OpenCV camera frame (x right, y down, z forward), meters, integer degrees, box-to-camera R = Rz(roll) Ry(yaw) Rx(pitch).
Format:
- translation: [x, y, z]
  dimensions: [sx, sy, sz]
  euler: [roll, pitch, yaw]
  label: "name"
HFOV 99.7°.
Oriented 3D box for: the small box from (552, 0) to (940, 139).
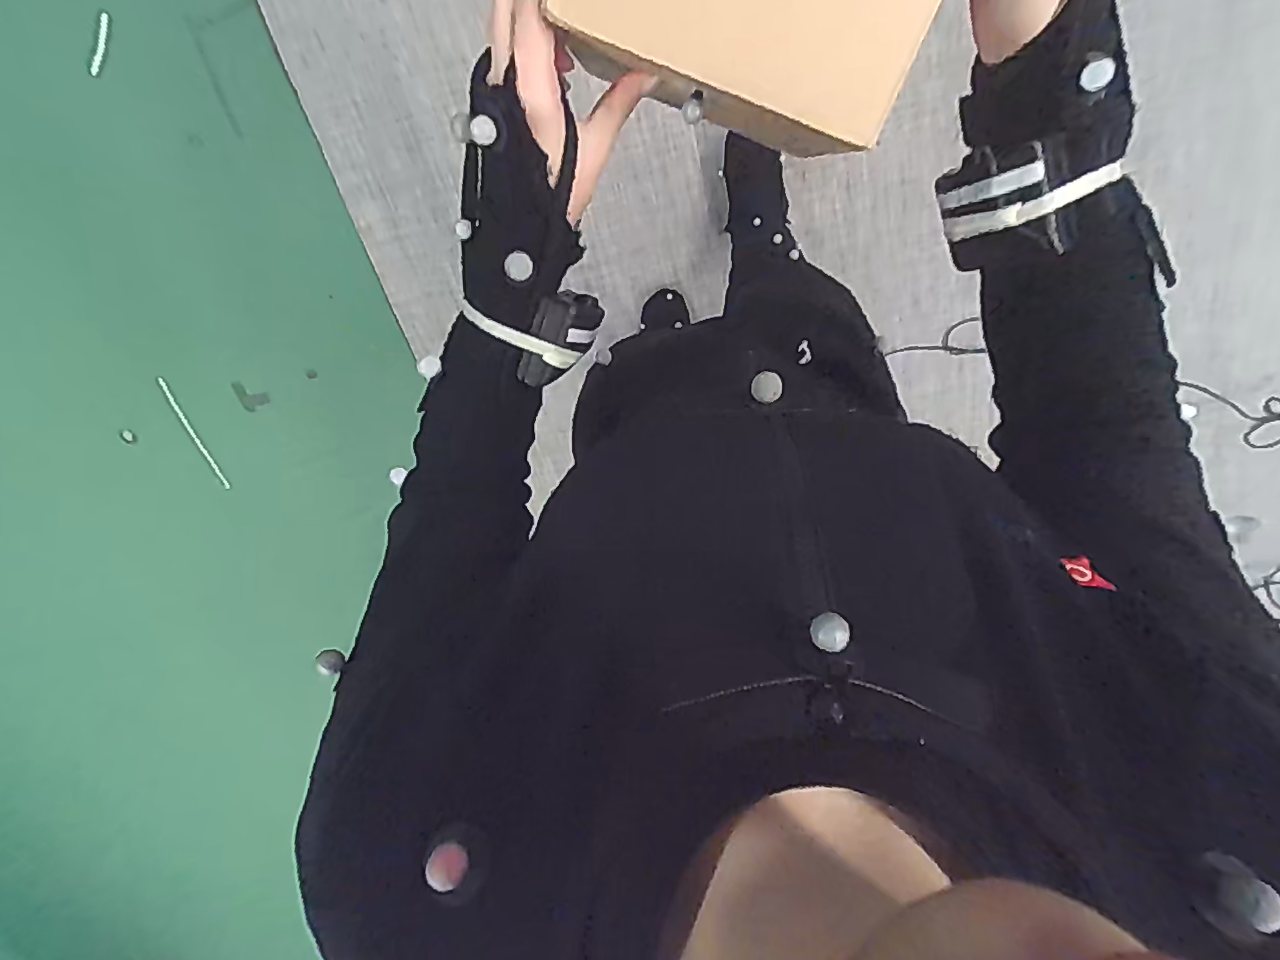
- translation: [0.066, -0.303, 0.293]
  dimensions: [0.179, 0.176, 0.168]
  euler: [16, 120, -7]
  label: "small box"
